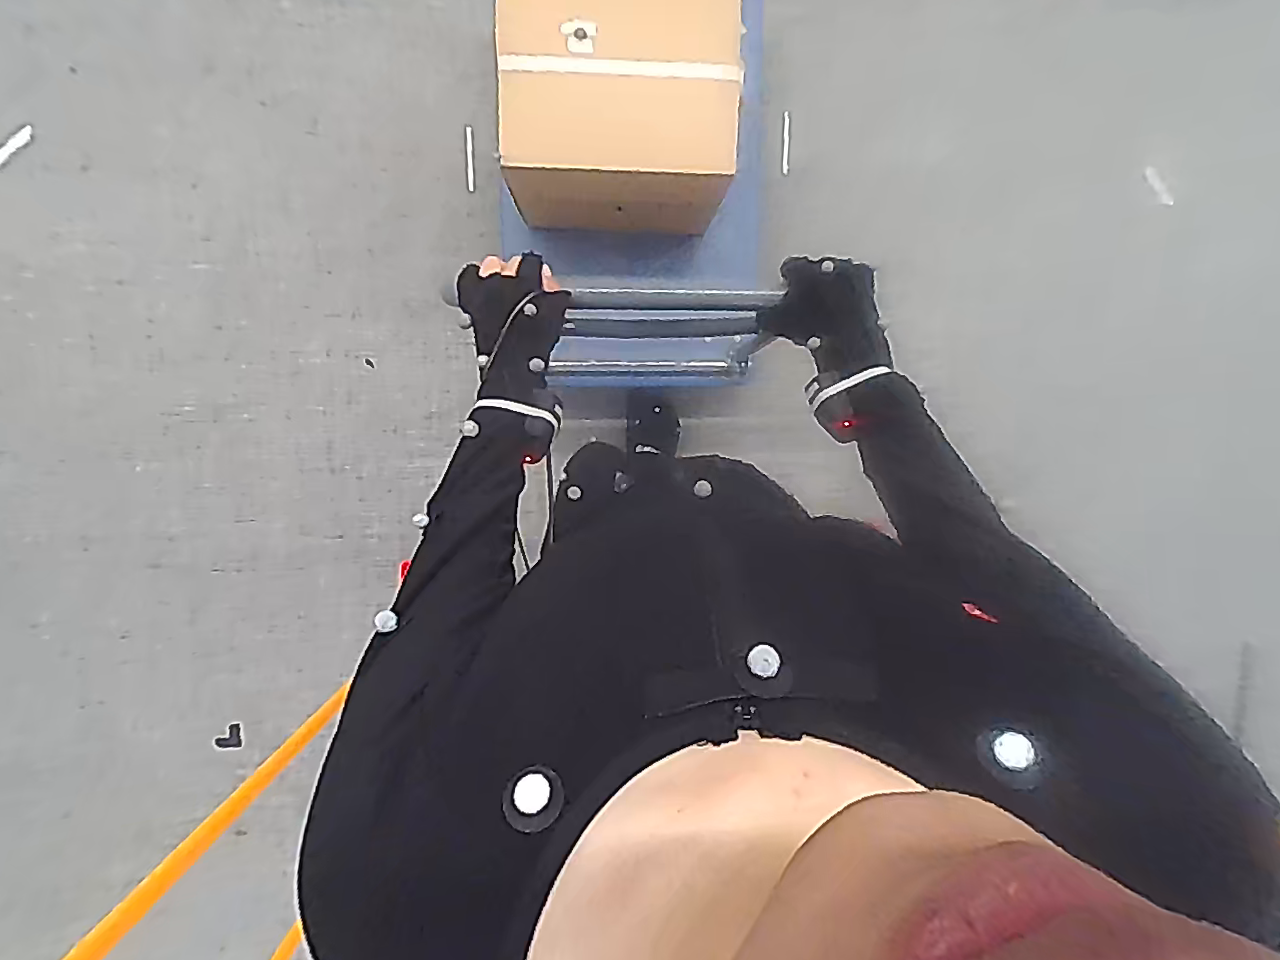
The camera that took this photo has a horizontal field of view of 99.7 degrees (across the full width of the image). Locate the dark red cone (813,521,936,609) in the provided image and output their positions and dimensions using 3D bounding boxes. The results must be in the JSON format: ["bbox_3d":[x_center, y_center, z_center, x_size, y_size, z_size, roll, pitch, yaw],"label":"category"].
[{"bbox_3d":[0.588,0.232,1.327,0.201,0.394,0.202,-1,97,-5],"label":"dark red cone"}]

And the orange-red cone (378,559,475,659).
[{"bbox_3d":[-0.542,0.334,1.299,0.198,0.360,0.199,7,95,-5],"label":"orange-red cone"}]

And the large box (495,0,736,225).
[{"bbox_3d":[-0.044,-0.703,1.049,0.408,0.320,0.320,0,97,-3],"label":"large box"}]
